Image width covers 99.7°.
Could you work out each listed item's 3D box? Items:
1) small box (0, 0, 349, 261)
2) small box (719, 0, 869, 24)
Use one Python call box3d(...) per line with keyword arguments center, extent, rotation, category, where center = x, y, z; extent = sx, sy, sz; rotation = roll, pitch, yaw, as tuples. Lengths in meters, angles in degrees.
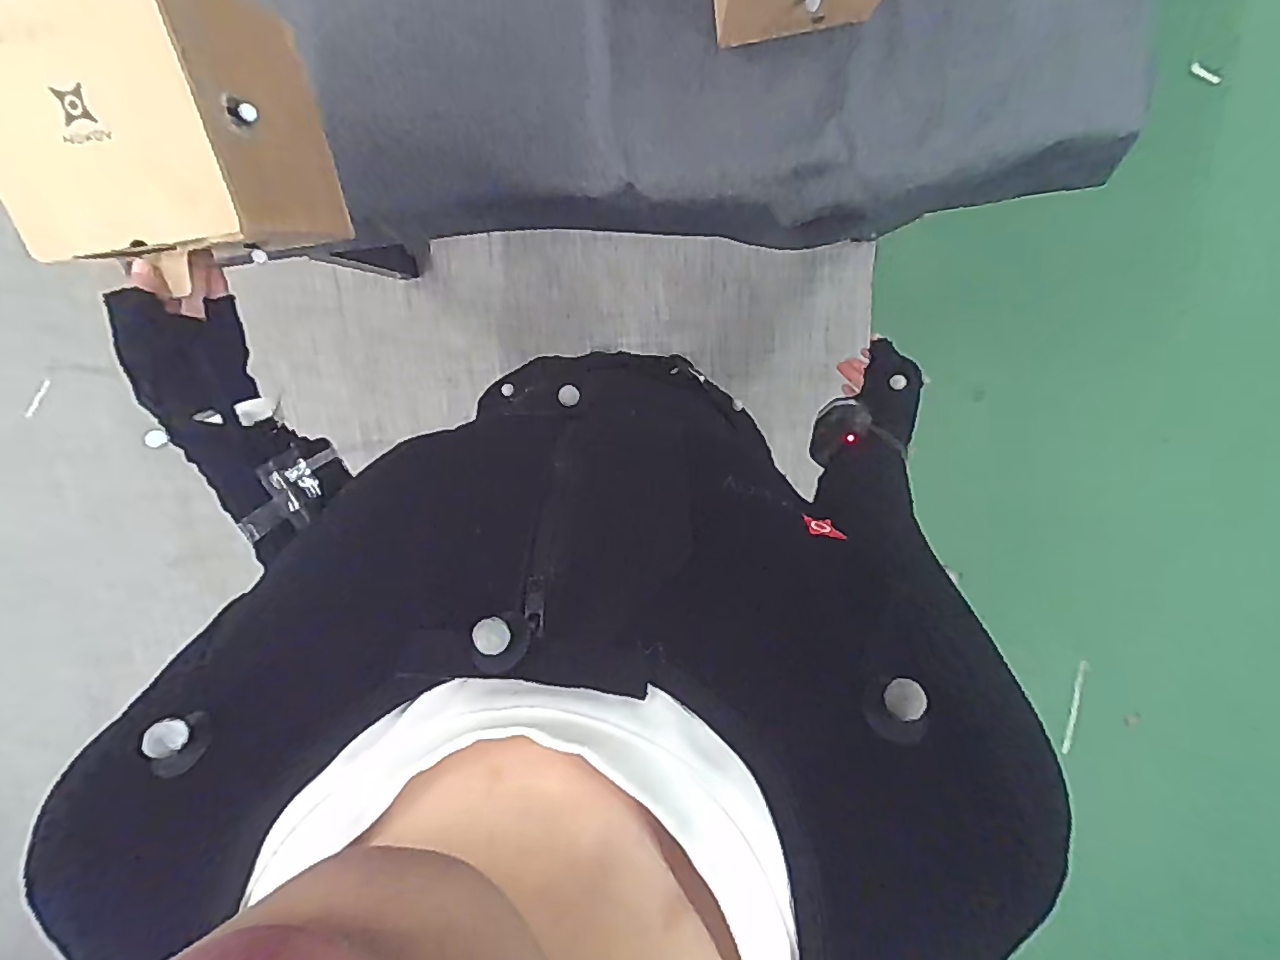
box3d(center=(-0.370, -0.281, 0.430), extent=(0.168, 0.176, 0.179), rotation=(-7, 113, 4), category="small box")
box3d(center=(0.154, -0.551, 0.481), extent=(0.168, 0.176, 0.179), rotation=(-8, 105, 4), category="small box")
